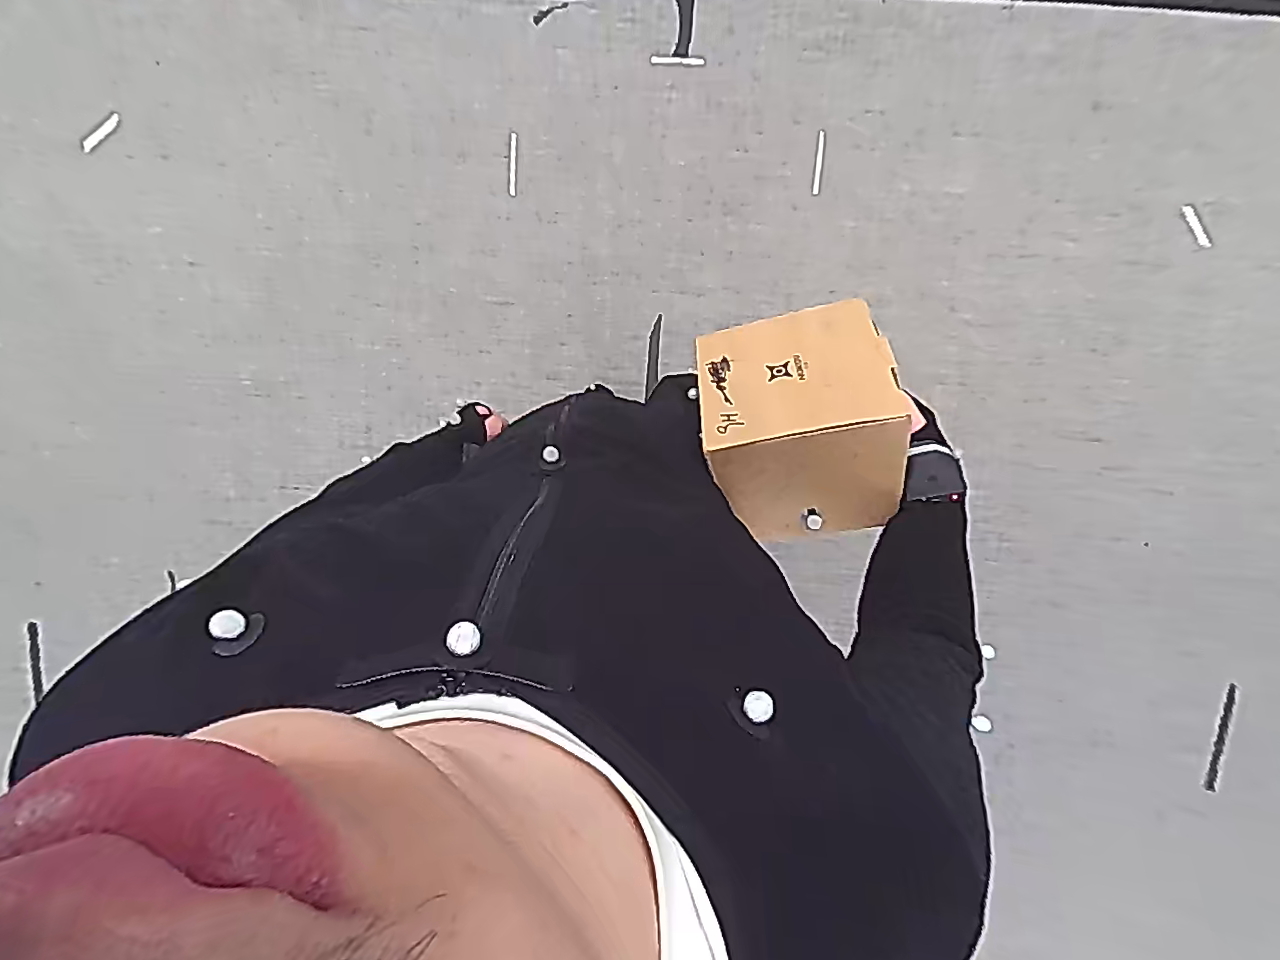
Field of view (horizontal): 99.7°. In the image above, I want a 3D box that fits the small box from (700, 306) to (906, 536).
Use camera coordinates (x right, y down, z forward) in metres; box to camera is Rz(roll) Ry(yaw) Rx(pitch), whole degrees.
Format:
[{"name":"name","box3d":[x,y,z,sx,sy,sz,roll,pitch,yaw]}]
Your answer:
[{"name":"small box","box3d":[0.169,-0.056,0.591,0.179,0.168,0.176,-9,140,13]}]
